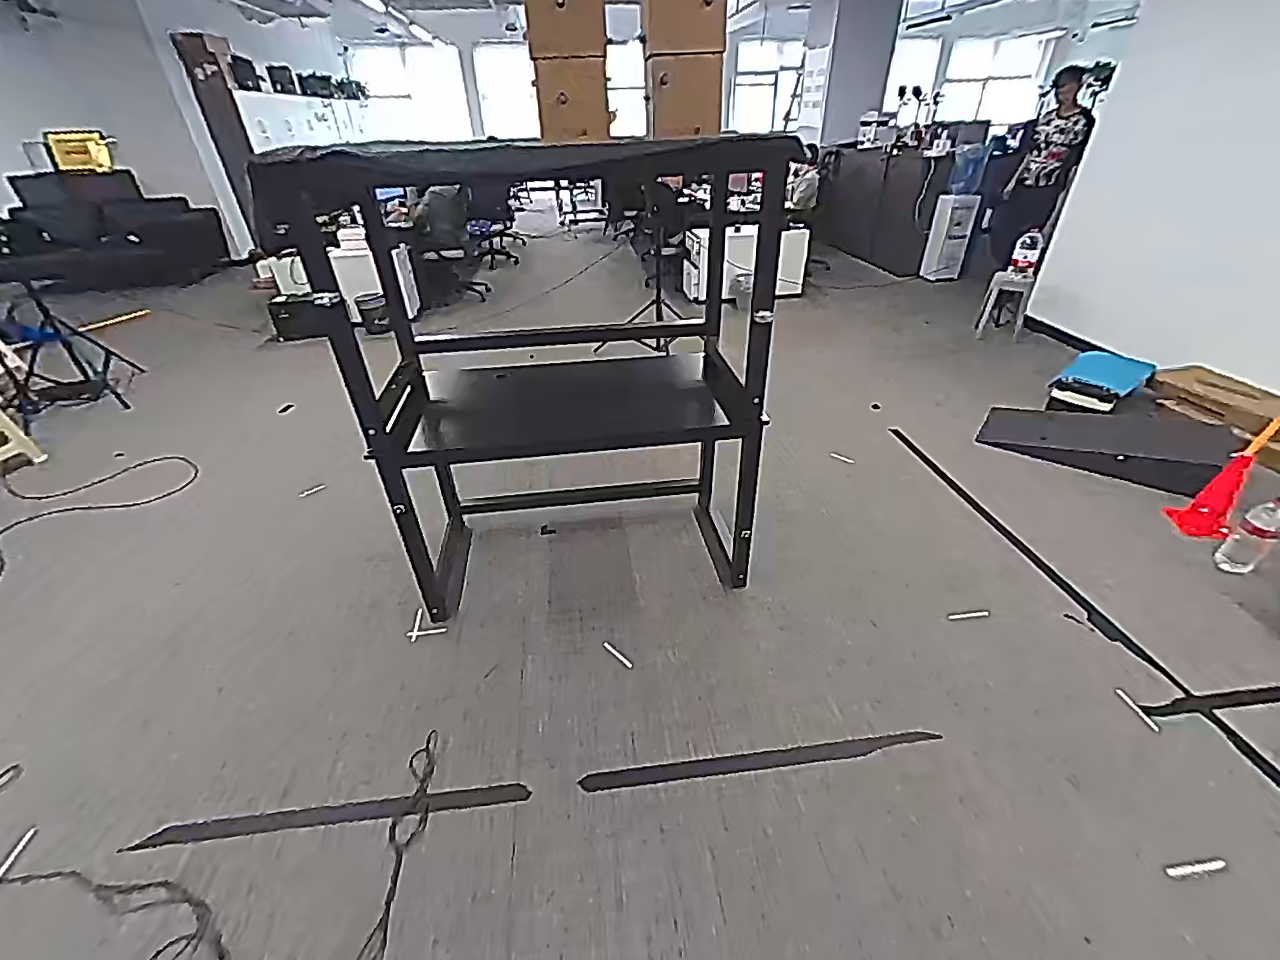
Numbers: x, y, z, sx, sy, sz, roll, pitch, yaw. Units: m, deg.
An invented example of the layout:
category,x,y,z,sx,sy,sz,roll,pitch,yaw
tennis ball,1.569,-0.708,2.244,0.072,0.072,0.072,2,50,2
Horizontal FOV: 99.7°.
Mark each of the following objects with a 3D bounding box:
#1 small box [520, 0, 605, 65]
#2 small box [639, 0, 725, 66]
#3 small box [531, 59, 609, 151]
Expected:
category,x,y,z,sx,sy,sz,roll,pitch,yaw
small box,-0.169,-1.035,1.213,0.179,0.176,0.168,-5,32,-2
small box,0.092,-1.052,1.224,0.179,0.176,0.168,-6,31,-4
small box,-0.163,-0.902,1.310,0.168,0.176,0.179,-4,32,-3
